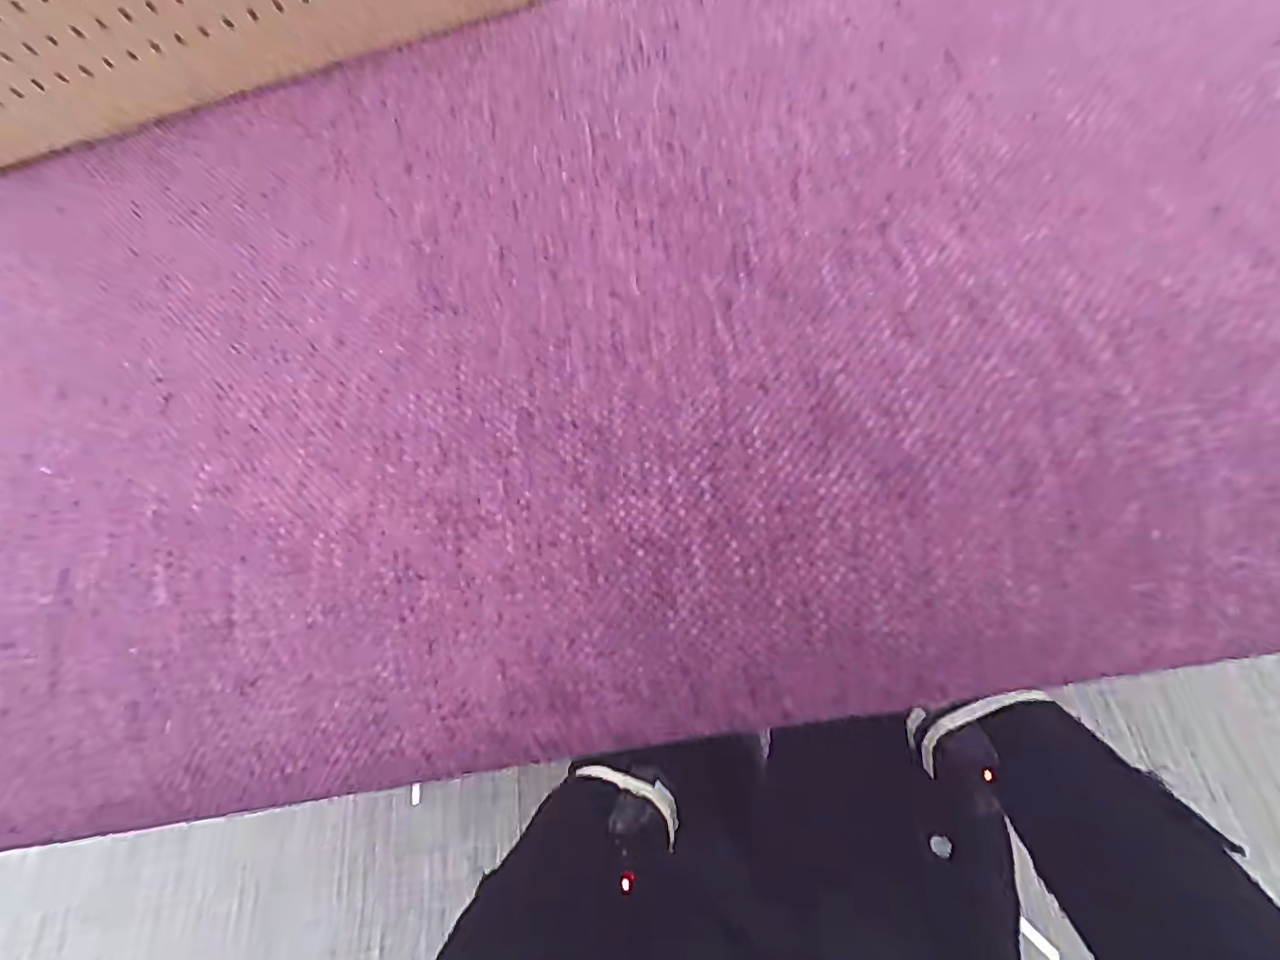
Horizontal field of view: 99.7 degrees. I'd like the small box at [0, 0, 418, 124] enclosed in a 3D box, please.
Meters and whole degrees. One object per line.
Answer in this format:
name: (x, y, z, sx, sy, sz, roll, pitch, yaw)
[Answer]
small box: (-0.119, -0.210, 0.097, 0.179, 0.176, 0.168, -11, 65, 7)
